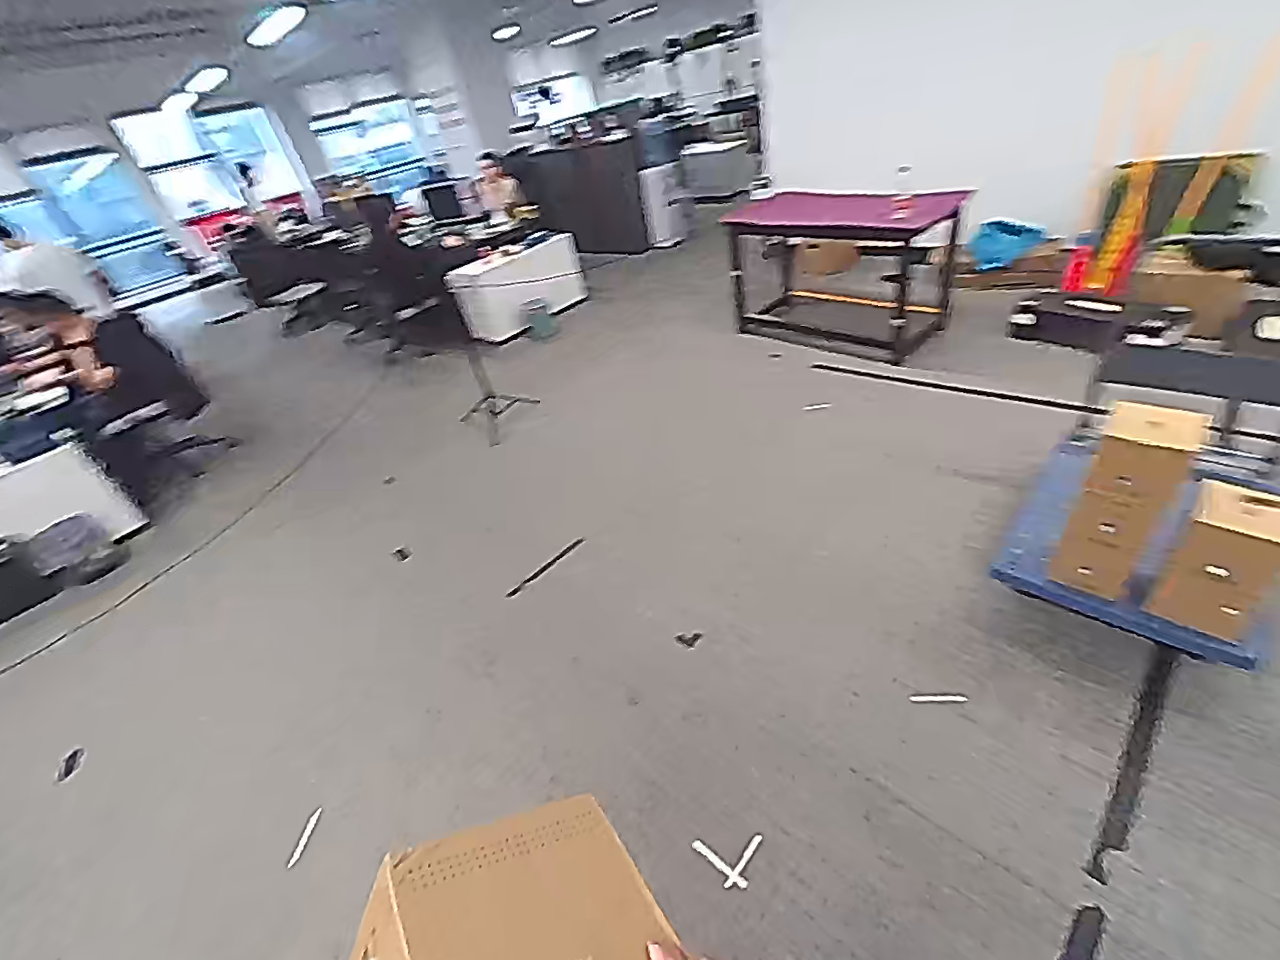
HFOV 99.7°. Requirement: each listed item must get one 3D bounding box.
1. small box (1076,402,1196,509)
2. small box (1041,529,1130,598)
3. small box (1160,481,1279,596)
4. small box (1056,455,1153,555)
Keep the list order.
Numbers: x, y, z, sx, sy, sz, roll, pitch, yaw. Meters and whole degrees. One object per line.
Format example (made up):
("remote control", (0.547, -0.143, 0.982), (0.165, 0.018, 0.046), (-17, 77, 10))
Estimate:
("small box", (1.197, -0.061, 1.312), (0.168, 0.176, 0.179), (22, 49, 38))
("small box", (1.250, 0.196, 1.509), (0.168, 0.176, 0.179), (22, 48, 37))
("small box", (1.373, 0.135, 1.271), (0.168, 0.176, 0.179), (24, 50, 40))
("small box", (1.218, 0.067, 1.412), (0.168, 0.176, 0.179), (20, 48, 36))
